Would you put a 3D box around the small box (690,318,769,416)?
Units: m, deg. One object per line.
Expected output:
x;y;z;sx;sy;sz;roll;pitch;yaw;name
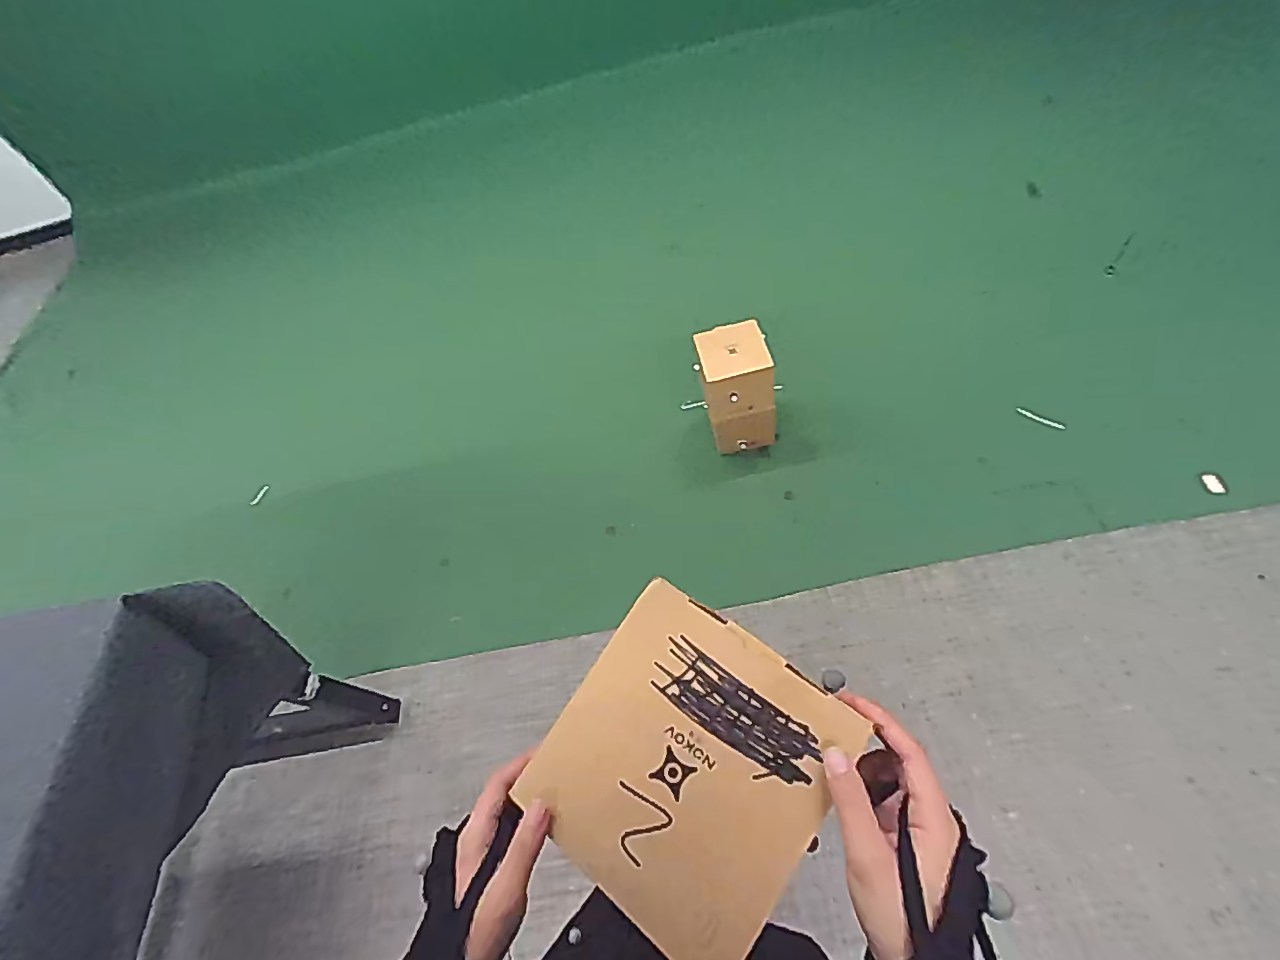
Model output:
0.236;-0.286;1.411;0.168;0.176;0.179;-14;56;4;small box

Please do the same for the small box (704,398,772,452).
0.275;-0.207;1.549;0.168;0.176;0.179;-13;58;5;small box
